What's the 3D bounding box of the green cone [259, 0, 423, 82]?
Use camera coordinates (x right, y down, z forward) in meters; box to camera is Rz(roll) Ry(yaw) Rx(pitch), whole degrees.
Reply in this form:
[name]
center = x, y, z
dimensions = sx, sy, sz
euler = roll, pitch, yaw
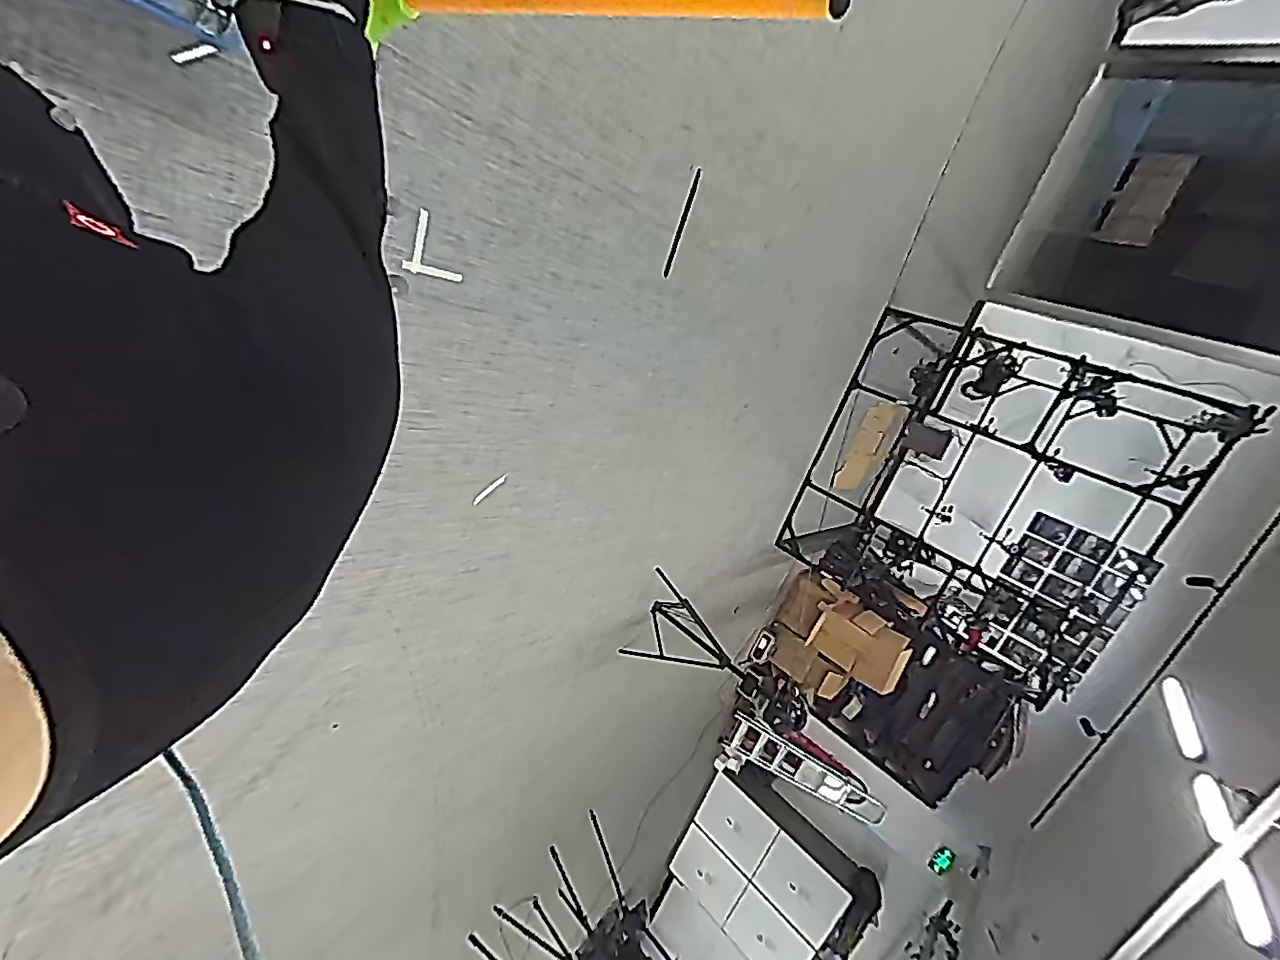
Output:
[green cone]
center = -0.512, -0.876, 0.990
dimensions = 0.202, 0.368, 0.200
euler = 2, 115, -54
